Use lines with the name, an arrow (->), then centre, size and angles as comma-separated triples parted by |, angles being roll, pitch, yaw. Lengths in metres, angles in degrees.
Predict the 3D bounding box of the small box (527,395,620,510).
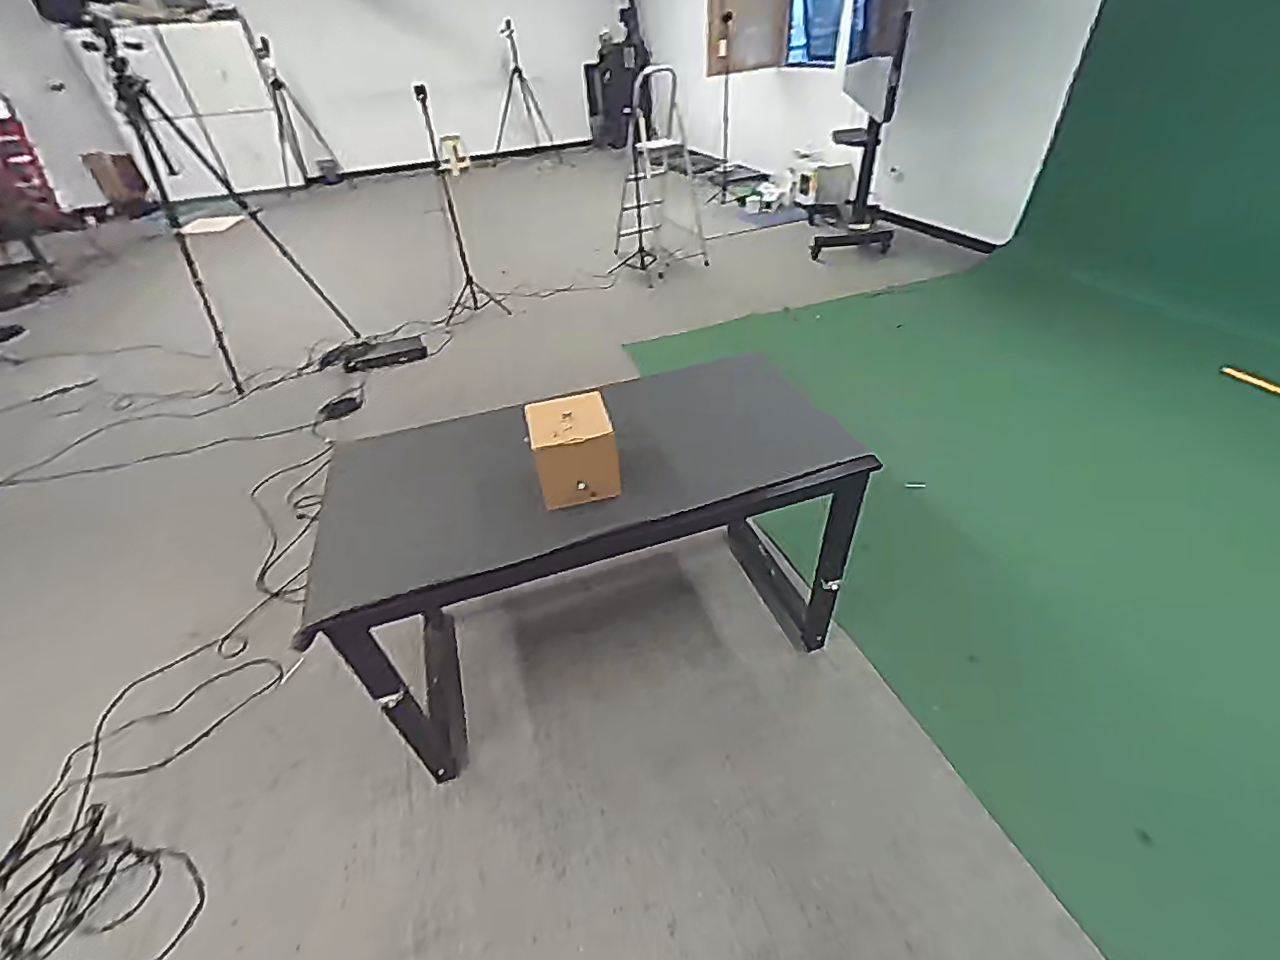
small box -> -0.145, -0.060, 1.175 | 0.168, 0.176, 0.179 | -12, 39, -8
